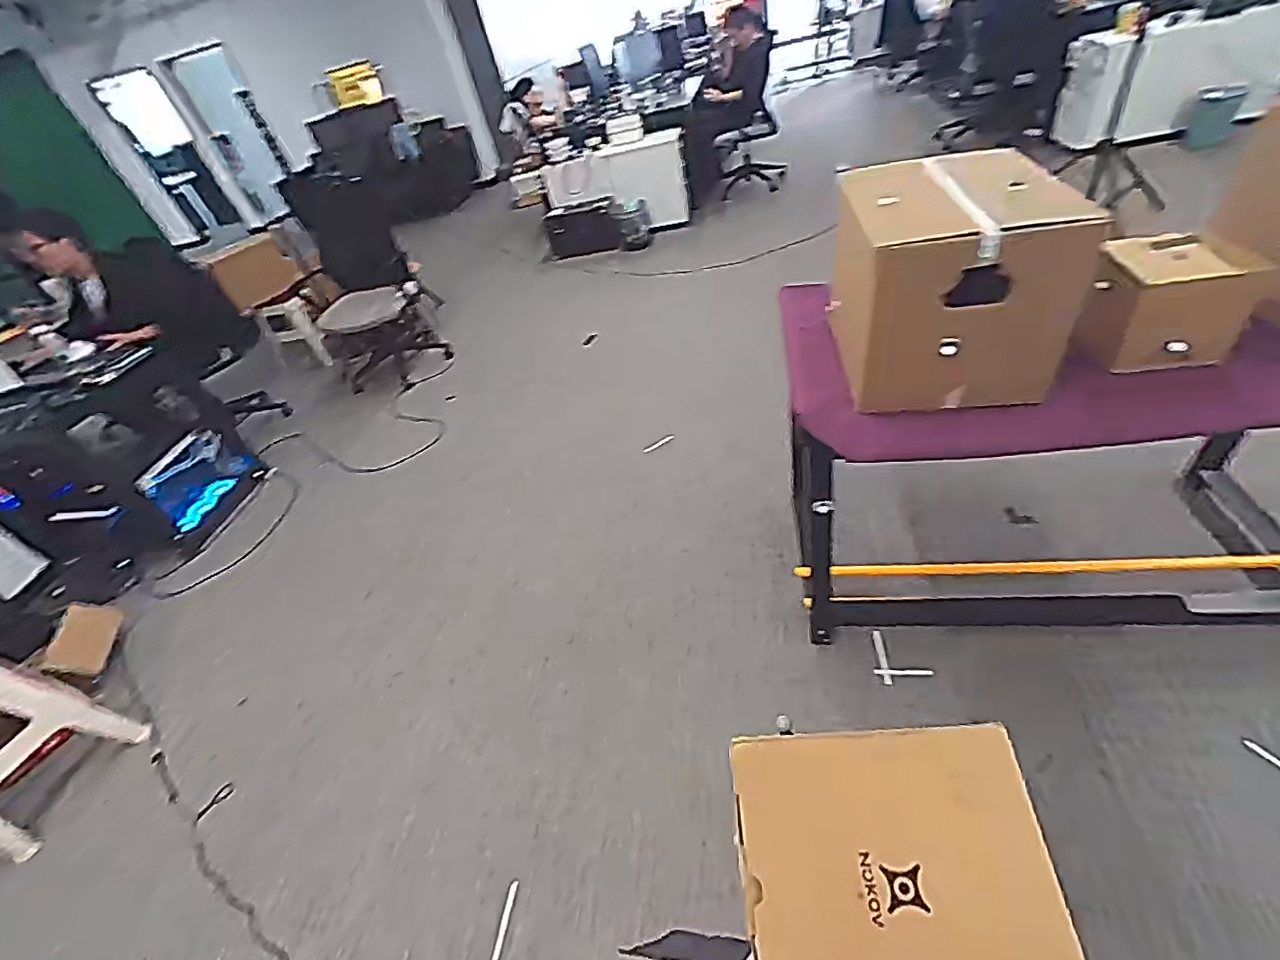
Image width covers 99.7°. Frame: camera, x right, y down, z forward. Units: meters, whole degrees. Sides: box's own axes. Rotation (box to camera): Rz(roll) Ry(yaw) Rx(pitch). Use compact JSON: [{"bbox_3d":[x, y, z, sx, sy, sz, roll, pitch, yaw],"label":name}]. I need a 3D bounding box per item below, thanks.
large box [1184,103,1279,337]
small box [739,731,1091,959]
[{"bbox_3d":[1.221,-0.415,0.856,0.320,0.320,0.408,-4,41,13],"label":"large box"},{"bbox_3d":[0.170,0.273,0.385,0.179,0.176,0.168,-8,61,11],"label":"small box"}]
